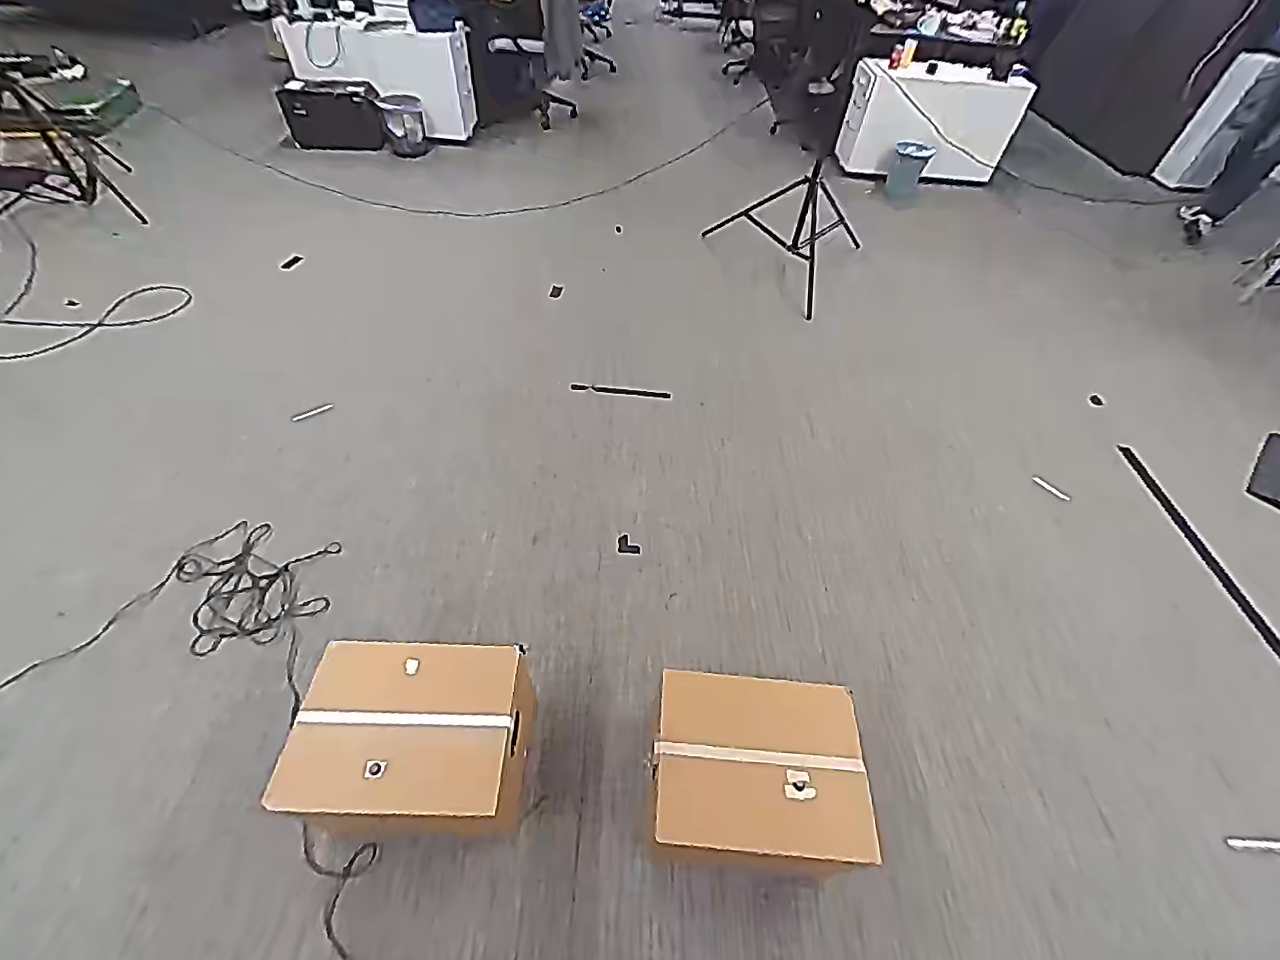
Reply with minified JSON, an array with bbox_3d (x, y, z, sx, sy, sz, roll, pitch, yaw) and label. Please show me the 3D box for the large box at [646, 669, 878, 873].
[{"bbox_3d":[0.228,0.634,1.172,0.408,0.320,0.320,6,50,-1],"label":"large box"}]
